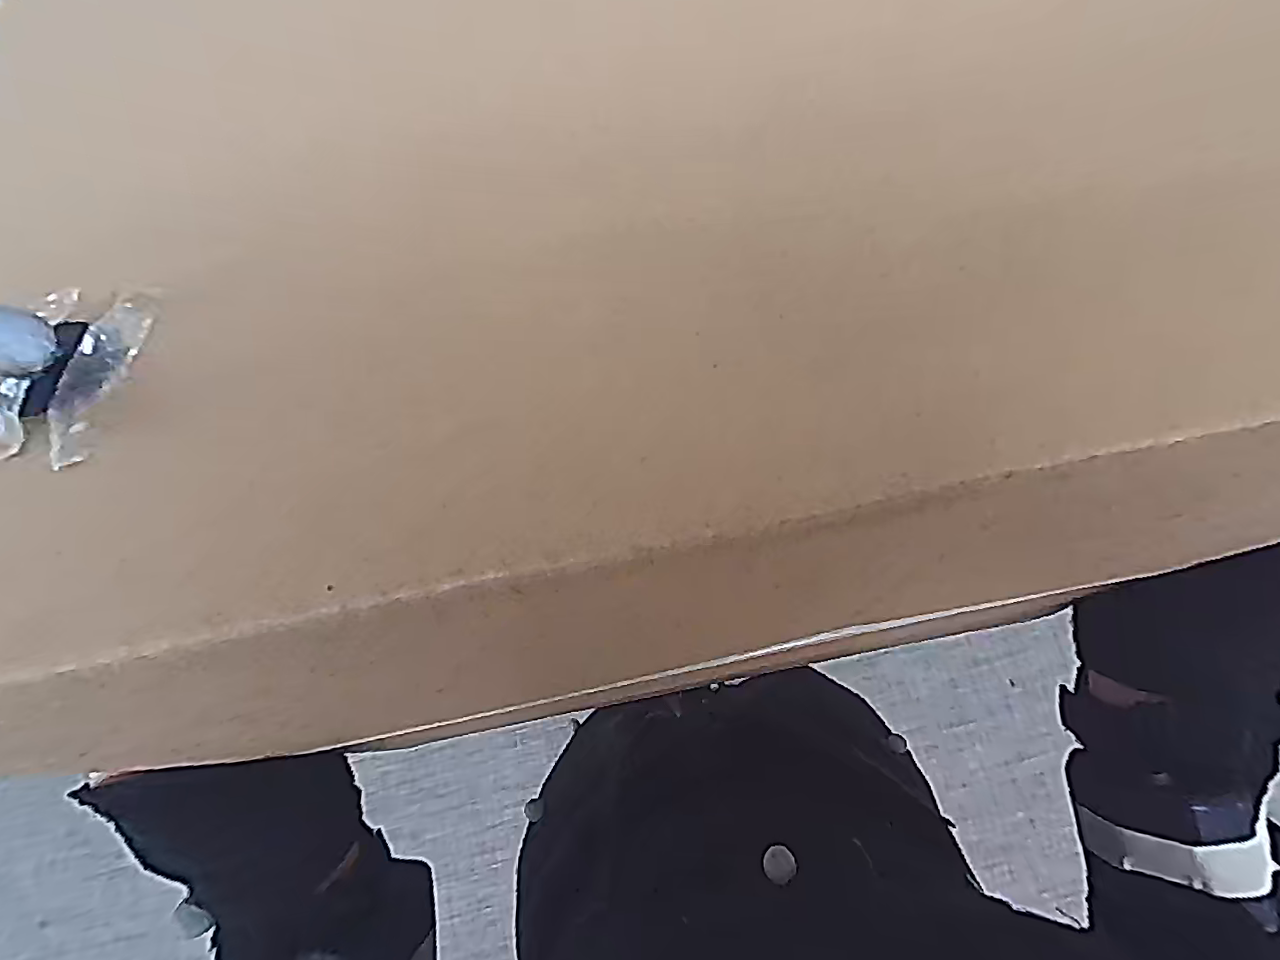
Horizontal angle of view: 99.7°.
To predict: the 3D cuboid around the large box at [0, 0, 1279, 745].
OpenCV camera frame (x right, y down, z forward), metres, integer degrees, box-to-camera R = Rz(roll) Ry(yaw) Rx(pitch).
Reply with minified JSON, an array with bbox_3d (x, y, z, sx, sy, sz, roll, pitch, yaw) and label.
[{"bbox_3d":[0.013,-0.065,0.297,0.408,0.320,0.320,-11,65,-1],"label":"large box"}]
